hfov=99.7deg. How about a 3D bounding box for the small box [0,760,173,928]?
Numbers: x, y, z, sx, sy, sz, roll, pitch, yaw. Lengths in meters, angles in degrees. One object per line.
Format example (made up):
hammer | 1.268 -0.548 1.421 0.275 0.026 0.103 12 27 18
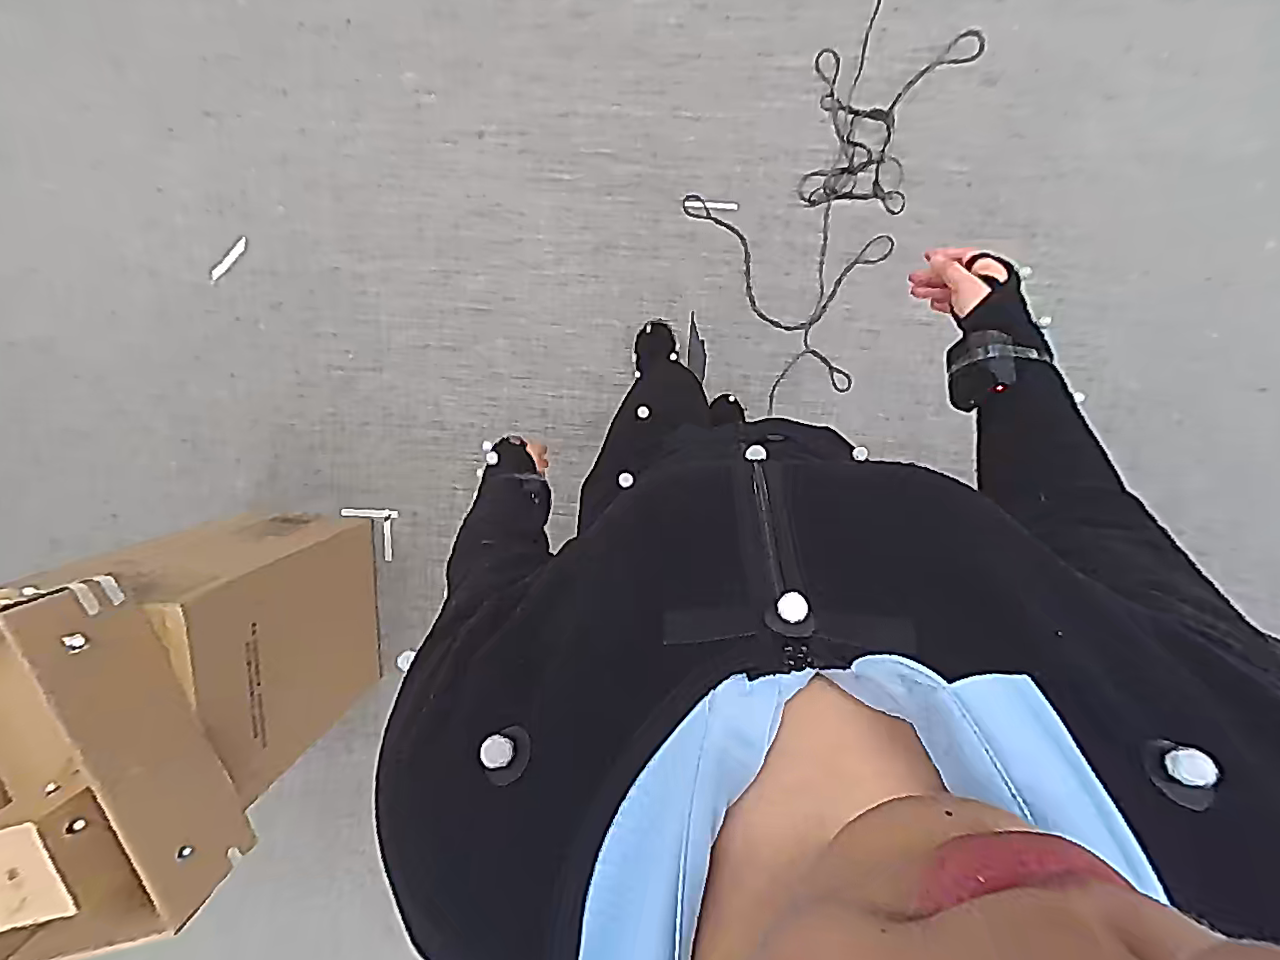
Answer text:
small box | -0.988 0.620 0.945 0.168 0.176 0.179 -15 99 6
